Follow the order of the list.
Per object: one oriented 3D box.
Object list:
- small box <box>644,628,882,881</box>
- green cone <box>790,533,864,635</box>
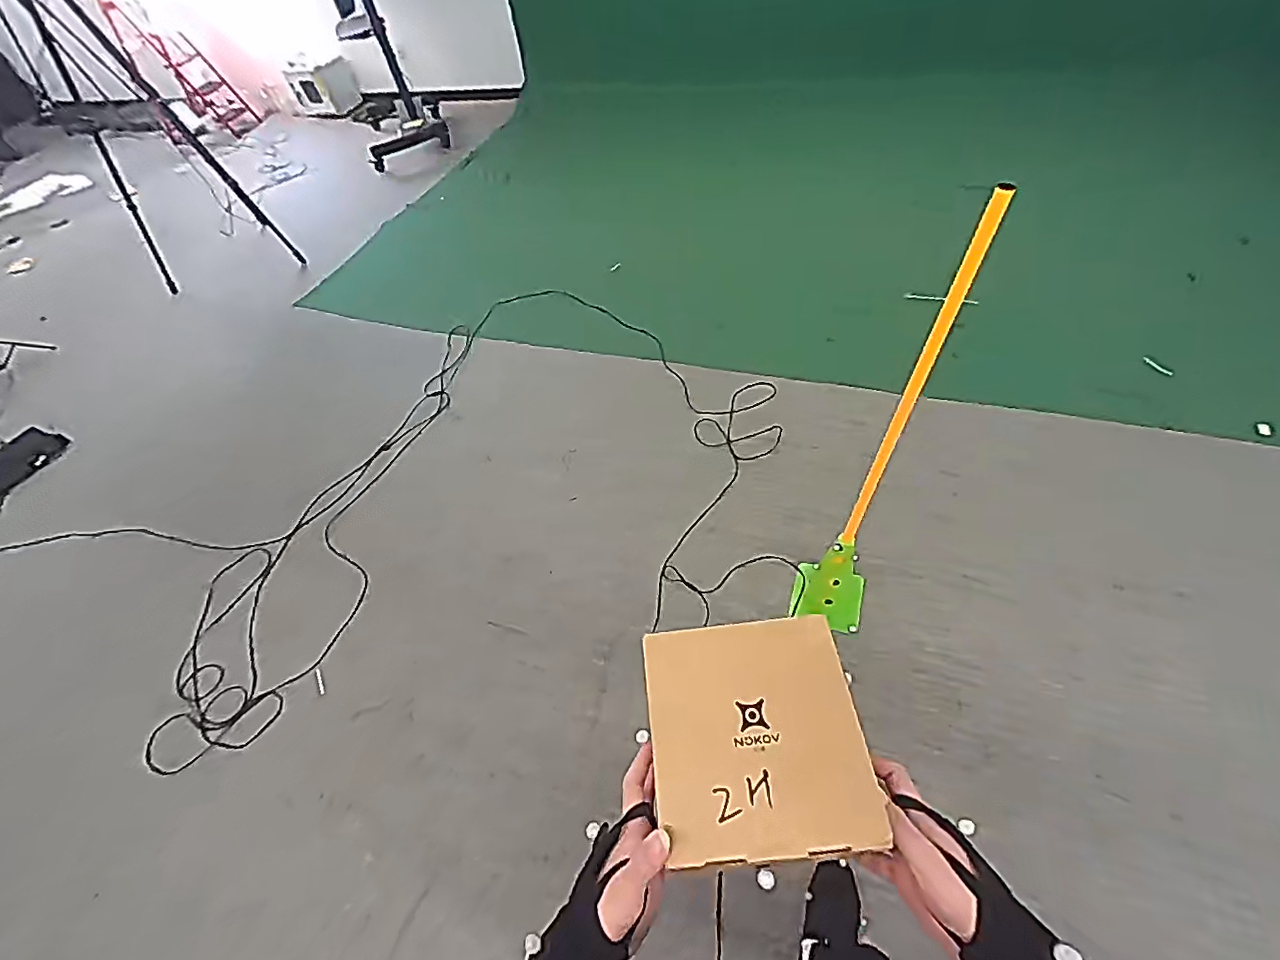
[{"bbox_3d":[0.094,0.256,0.499,0.168,0.176,0.179,-6,53,3],"label":"small box"},{"bbox_3d":[0.554,0.259,1.534,0.202,0.368,0.200,11,55,18],"label":"green cone"}]
